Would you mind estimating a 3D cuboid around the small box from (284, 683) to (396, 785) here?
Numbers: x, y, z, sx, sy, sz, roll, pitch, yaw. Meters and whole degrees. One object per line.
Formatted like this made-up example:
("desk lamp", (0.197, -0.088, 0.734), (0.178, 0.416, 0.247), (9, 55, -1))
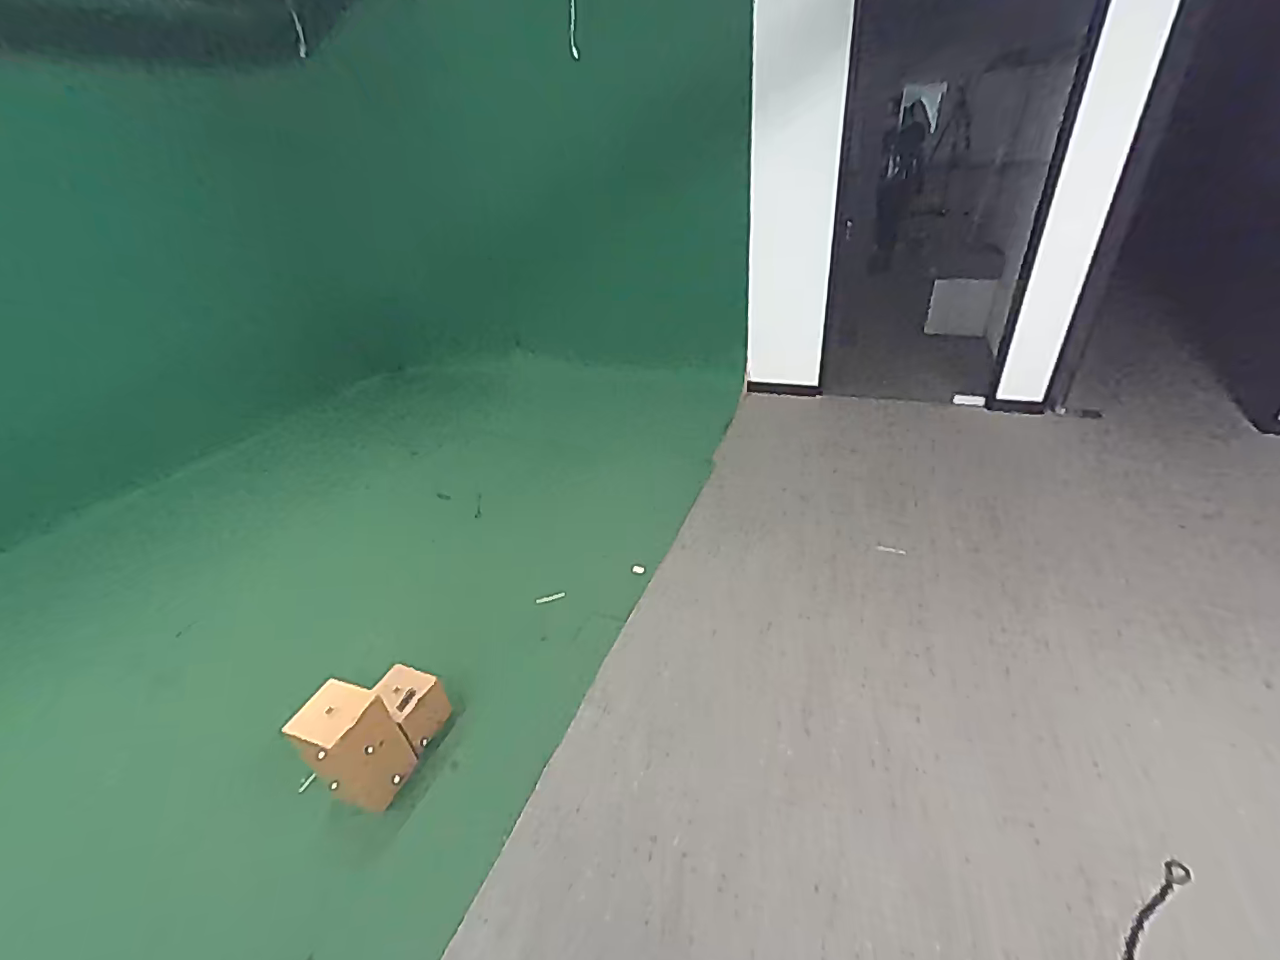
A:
("small box", (-0.798, 0.683, 1.454), (0.179, 0.176, 0.168), (7, 34, 19))
